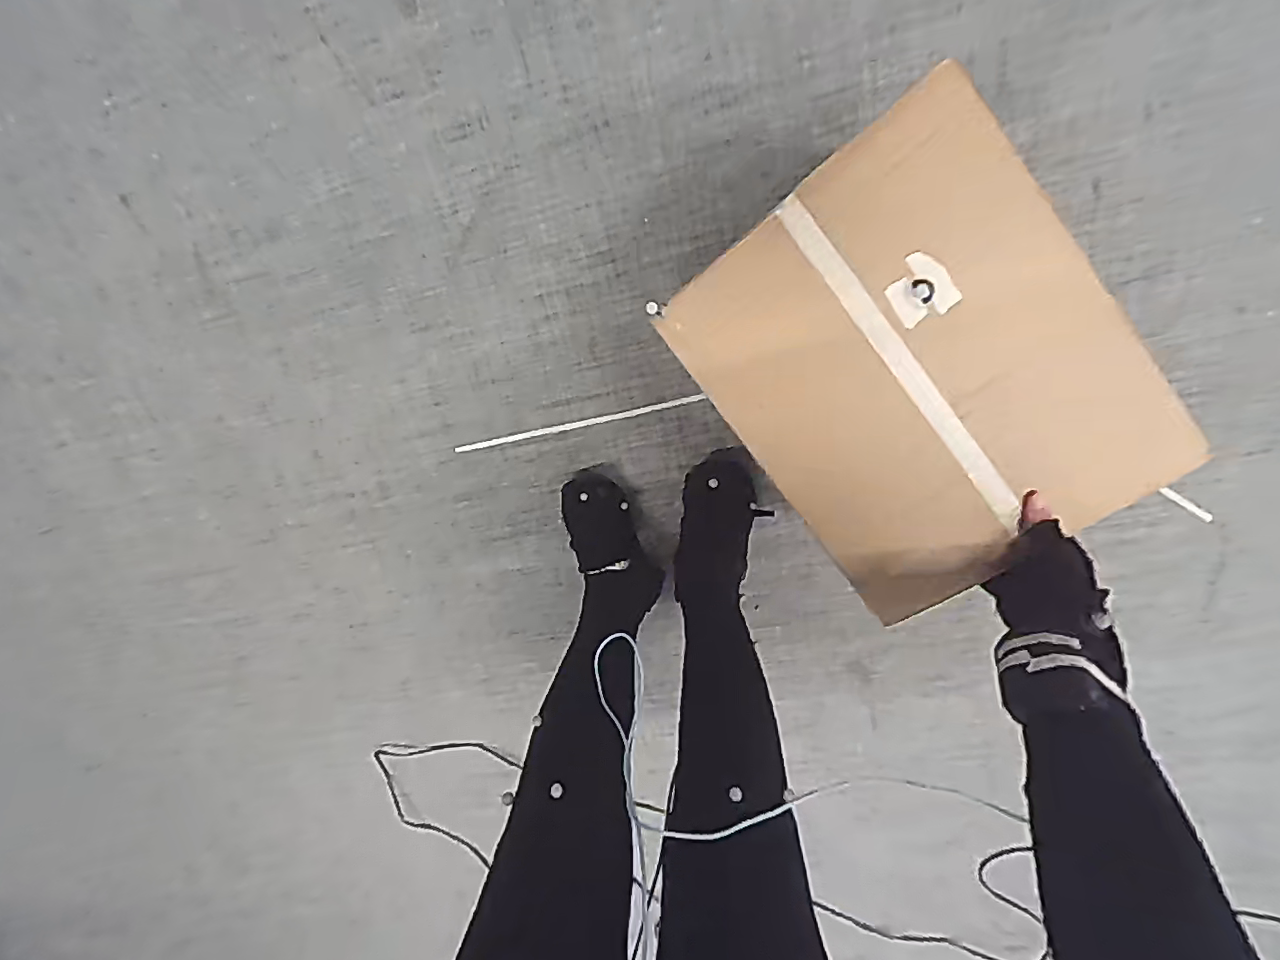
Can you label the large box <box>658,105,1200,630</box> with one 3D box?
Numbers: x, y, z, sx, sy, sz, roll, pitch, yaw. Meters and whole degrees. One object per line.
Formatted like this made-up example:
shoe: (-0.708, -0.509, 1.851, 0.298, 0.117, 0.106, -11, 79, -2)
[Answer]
large box: (0.289, -0.113, 0.649, 0.320, 0.320, 0.408, -37, 94, 20)
